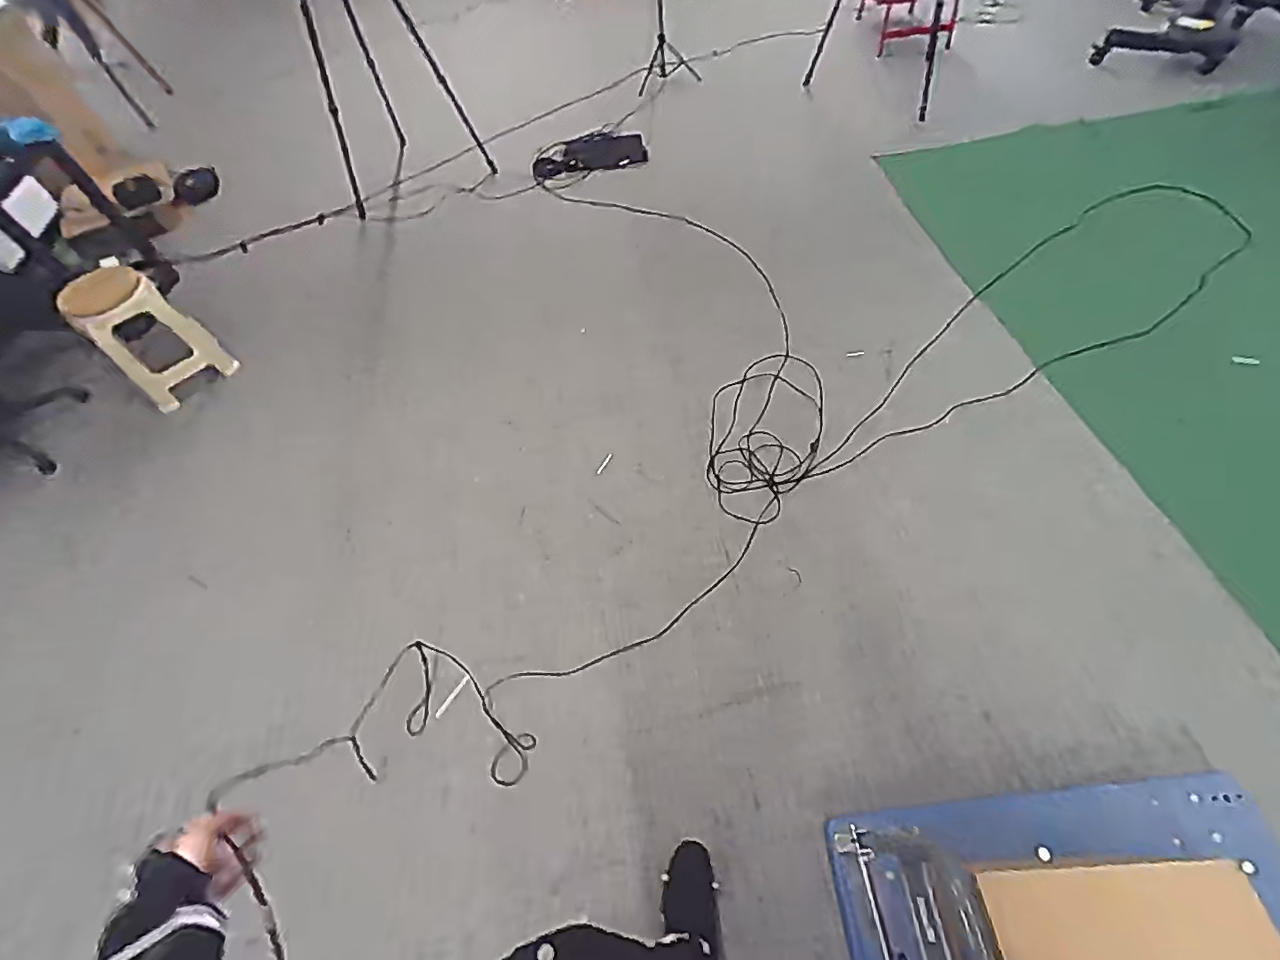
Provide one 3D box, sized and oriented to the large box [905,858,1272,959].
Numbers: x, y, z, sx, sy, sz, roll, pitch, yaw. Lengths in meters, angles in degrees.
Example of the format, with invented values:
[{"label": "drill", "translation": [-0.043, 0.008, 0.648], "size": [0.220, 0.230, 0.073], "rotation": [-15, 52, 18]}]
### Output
[{"label": "large box", "translation": [0.733, 0.829, 0.896], "size": [0.408, 0.320, 0.320], "rotation": [-5, 56, 2]}]
